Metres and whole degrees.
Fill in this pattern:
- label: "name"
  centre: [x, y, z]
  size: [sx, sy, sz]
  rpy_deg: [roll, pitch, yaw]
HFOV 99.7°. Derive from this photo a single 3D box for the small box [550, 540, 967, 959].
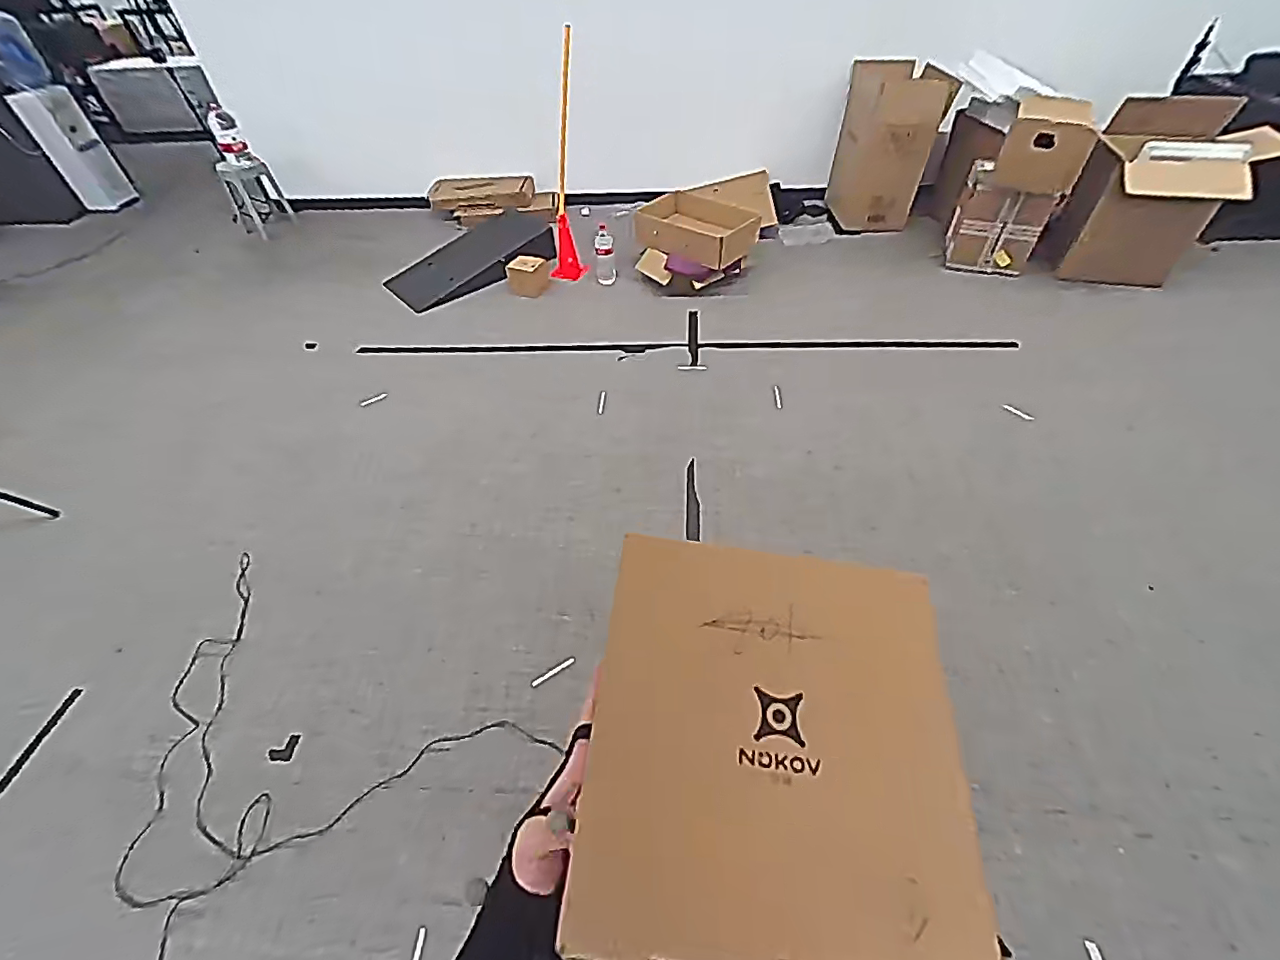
- label: "small box"
  centre: [0.047, 0.161, 0.318]
  size: [0.168, 0.176, 0.179]
  rpy_deg: [9, 53, -2]
